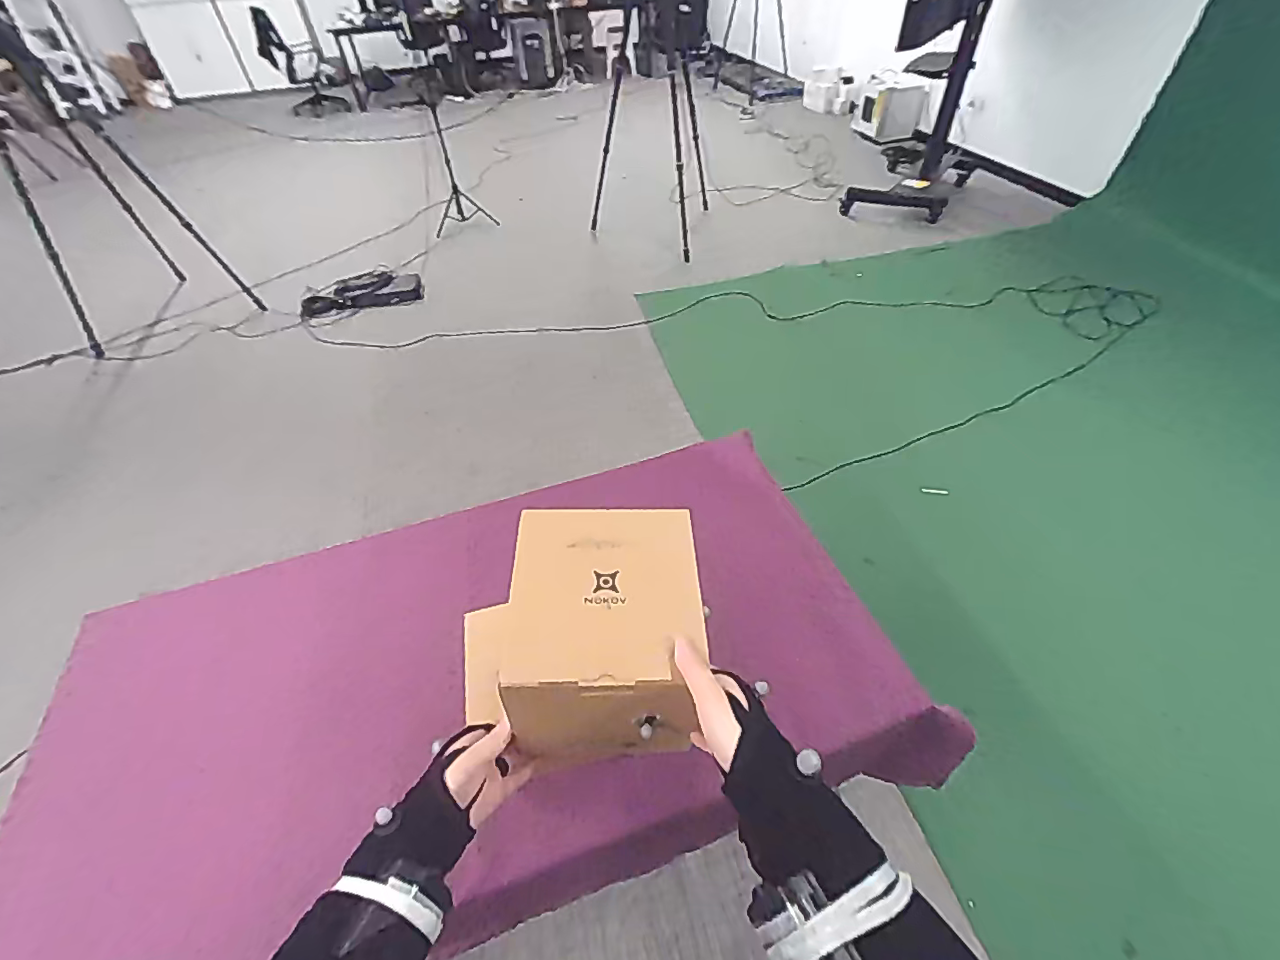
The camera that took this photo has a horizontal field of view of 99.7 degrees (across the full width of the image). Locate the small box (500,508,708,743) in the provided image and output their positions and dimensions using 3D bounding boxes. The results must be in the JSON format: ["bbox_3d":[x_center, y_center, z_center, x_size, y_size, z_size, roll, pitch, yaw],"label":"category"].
[{"bbox_3d":[-0.031,0.146,0.531,0.168,0.176,0.179,0,47,-3],"label":"small box"}]

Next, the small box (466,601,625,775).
[{"bbox_3d":[-0.116,0.265,0.713,0.179,0.176,0.168,-12,48,-6],"label":"small box"}]
